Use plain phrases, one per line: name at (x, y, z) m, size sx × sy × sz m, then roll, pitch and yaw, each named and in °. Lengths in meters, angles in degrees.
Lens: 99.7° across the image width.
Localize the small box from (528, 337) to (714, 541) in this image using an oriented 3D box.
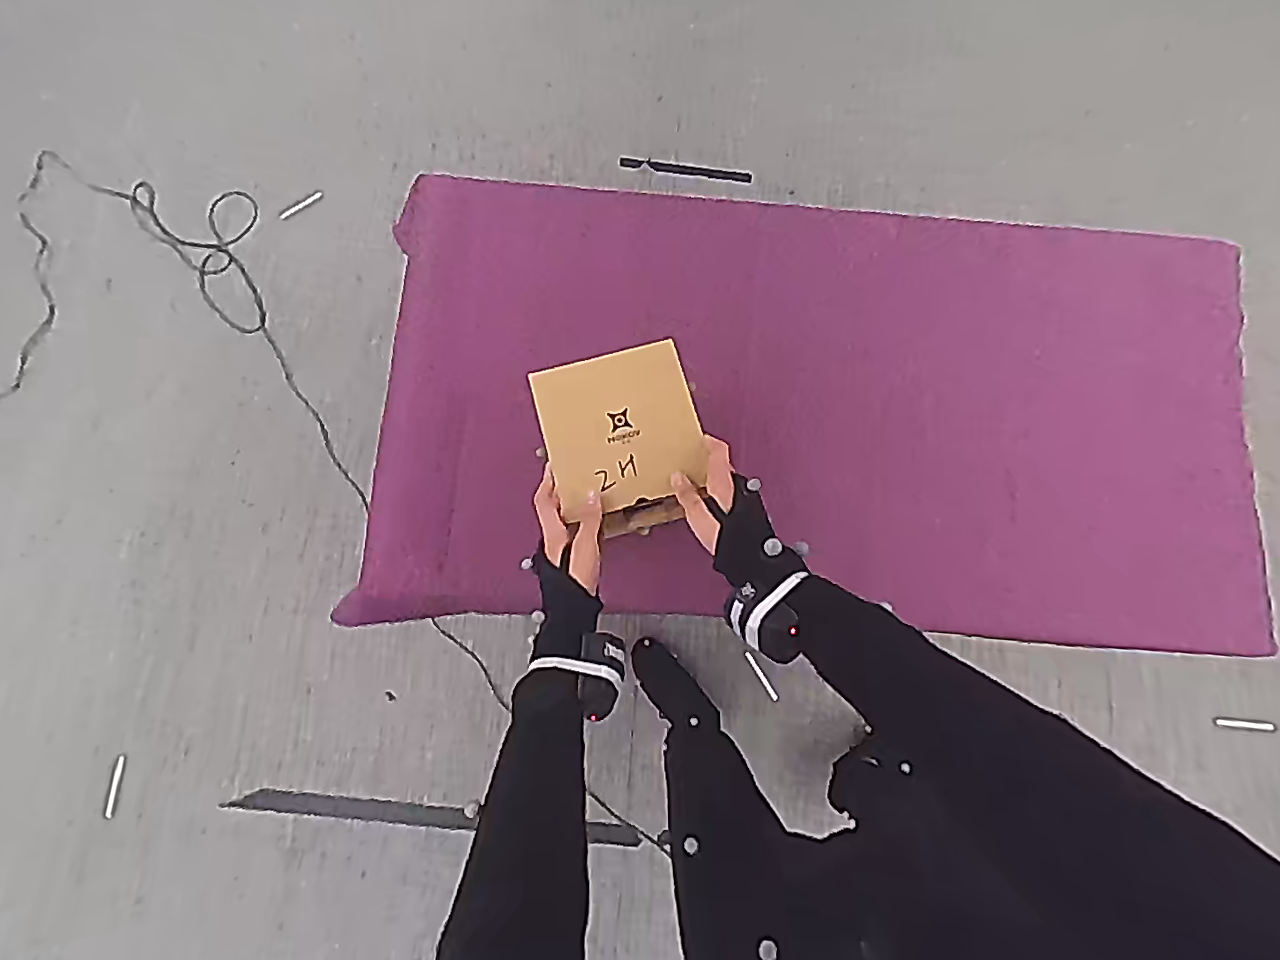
small box at (-0.024, -0.038, 0.645) m, size 0.168 × 0.176 × 0.179 m, roll -15°, pitch 77°, yaw -4°
